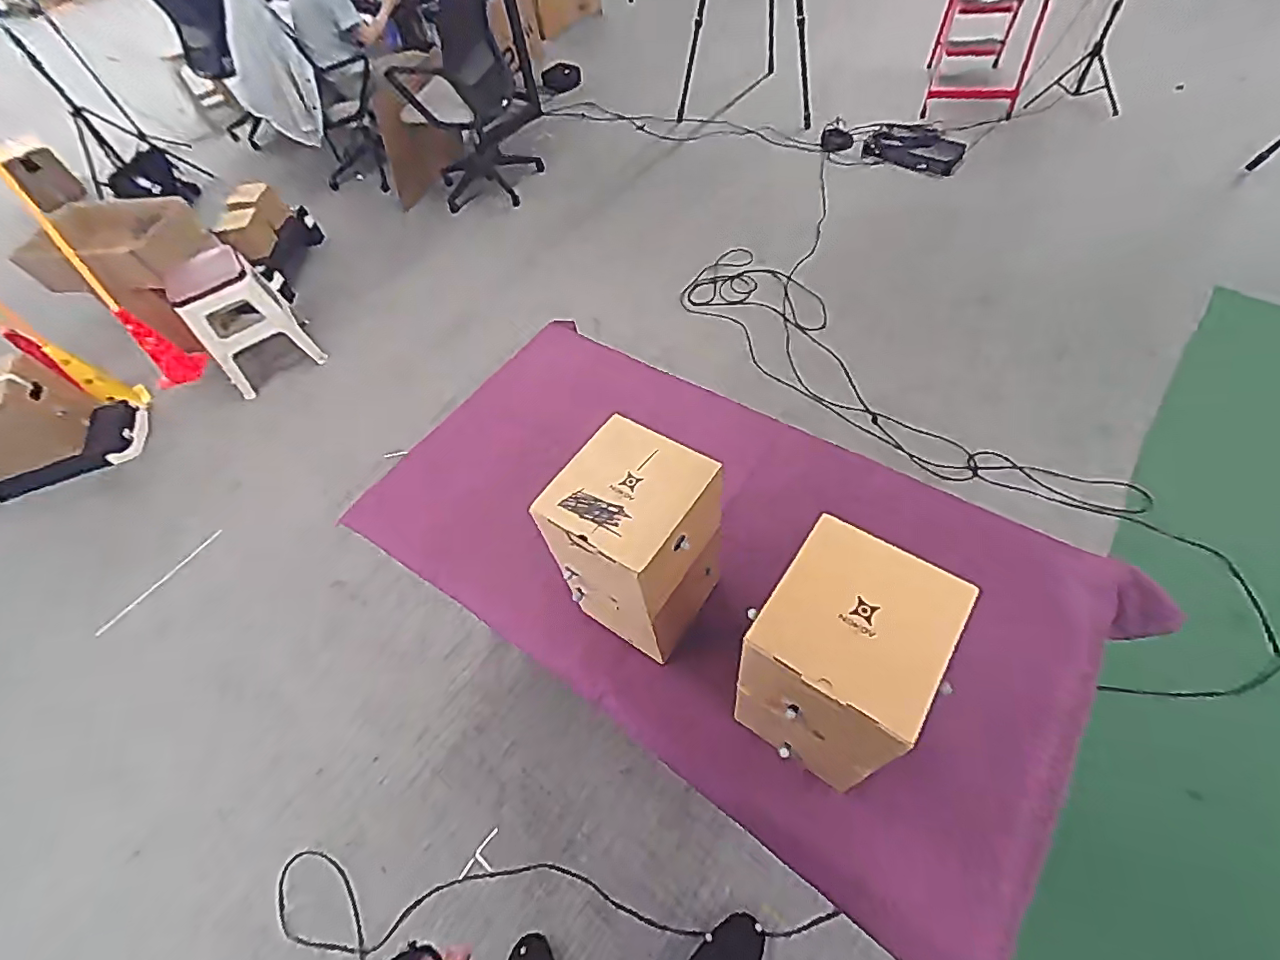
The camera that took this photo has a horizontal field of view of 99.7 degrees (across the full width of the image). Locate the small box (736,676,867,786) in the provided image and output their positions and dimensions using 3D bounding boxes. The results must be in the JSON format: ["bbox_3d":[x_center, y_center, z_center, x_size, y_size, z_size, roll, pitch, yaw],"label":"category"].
[{"bbox_3d":[0.238,0.275,0.725,0.168,0.176,0.179,28,63,25],"label":"small box"}]

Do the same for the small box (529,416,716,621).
[{"bbox_3d":[-0.011,0.055,0.710,0.168,0.176,0.179,28,62,24],"label":"small box"}]

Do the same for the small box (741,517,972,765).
[{"bbox_3d":[0.221,0.179,0.595,0.168,0.176,0.179,29,64,24],"label":"small box"}]
